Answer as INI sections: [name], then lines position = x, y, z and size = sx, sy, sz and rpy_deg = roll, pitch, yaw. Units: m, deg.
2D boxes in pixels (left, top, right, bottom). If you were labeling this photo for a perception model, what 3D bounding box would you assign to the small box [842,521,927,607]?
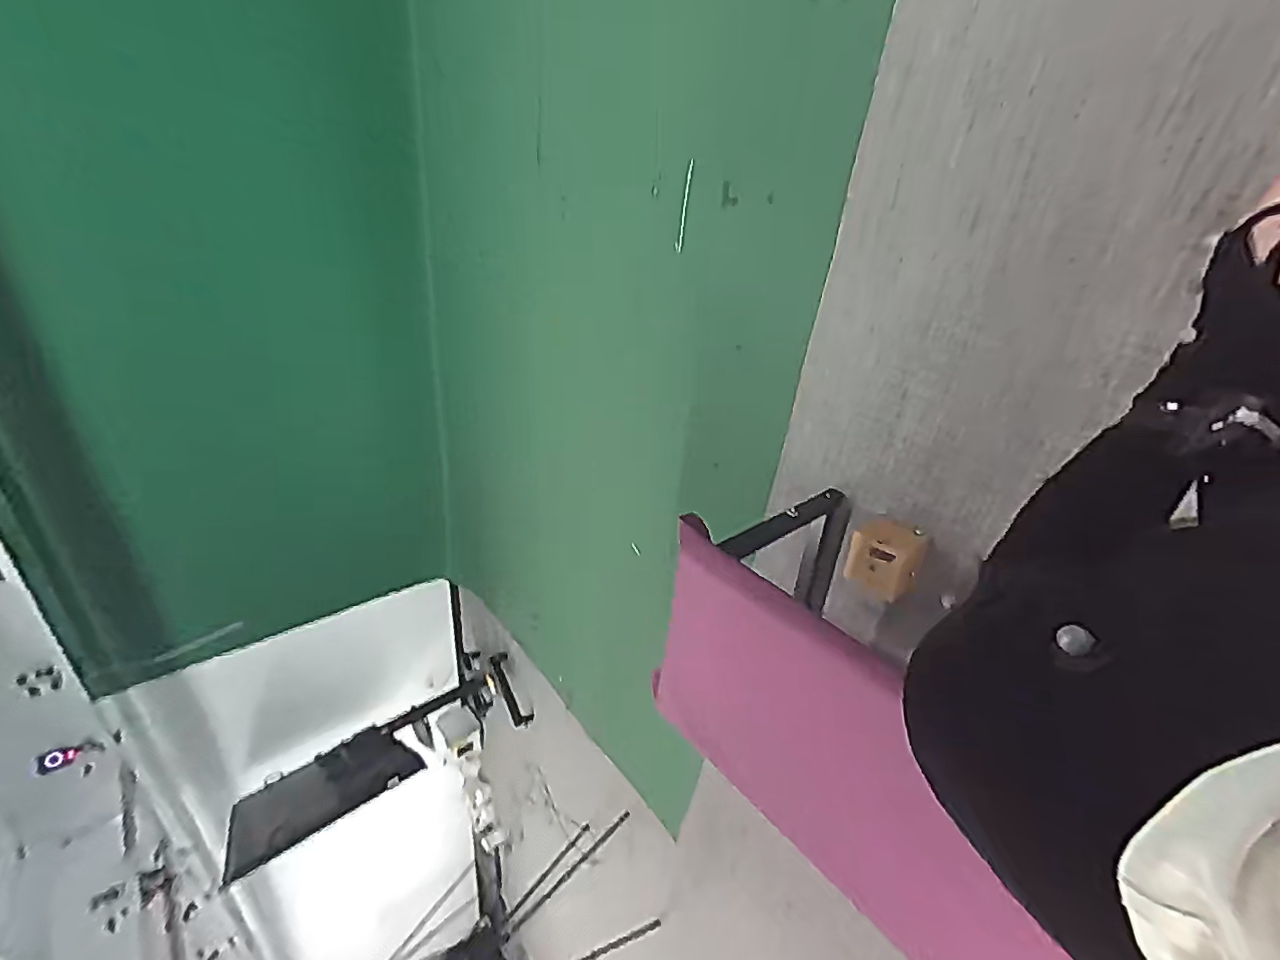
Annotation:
[small box]
position = 0.754, 0.249, 1.661
size = 0.168, 0.176, 0.179
rpy_deg = 29, 126, 42
